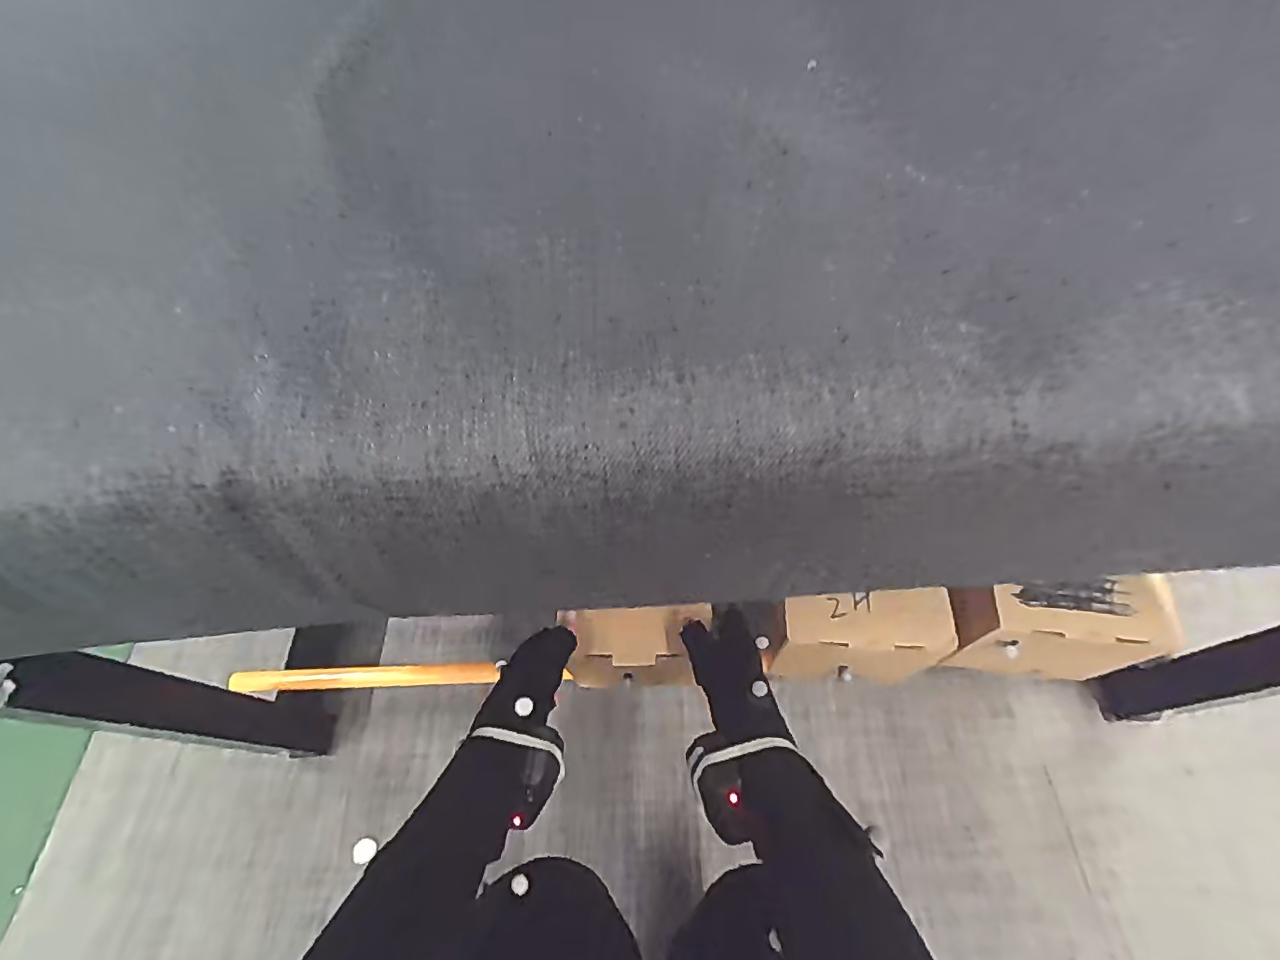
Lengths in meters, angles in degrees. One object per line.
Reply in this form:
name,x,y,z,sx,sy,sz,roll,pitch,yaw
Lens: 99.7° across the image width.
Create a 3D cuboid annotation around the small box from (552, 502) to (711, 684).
small box,-0.003,0.141,0.660,0.168,0.176,0.179,-2,60,4
